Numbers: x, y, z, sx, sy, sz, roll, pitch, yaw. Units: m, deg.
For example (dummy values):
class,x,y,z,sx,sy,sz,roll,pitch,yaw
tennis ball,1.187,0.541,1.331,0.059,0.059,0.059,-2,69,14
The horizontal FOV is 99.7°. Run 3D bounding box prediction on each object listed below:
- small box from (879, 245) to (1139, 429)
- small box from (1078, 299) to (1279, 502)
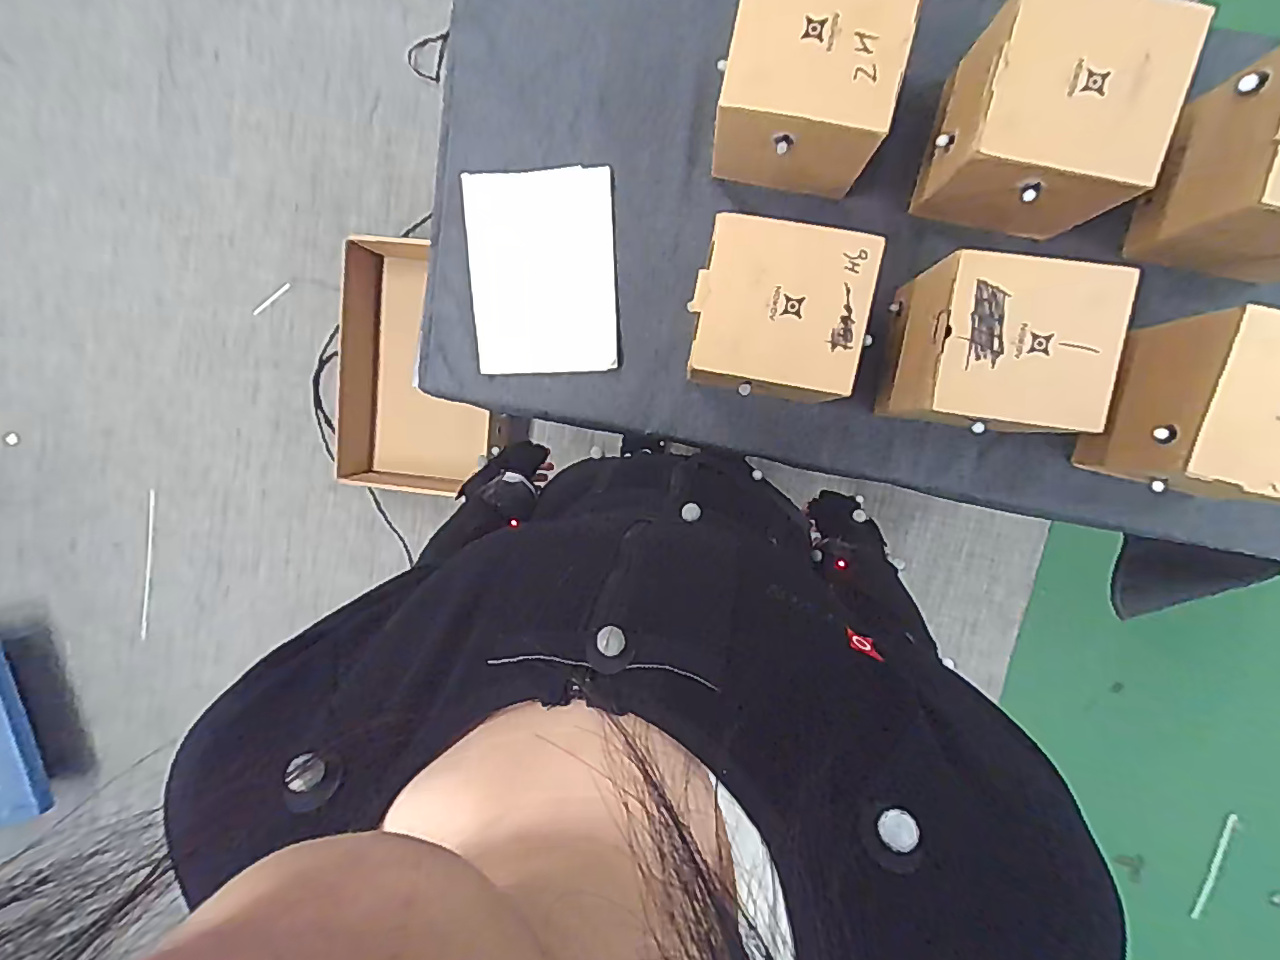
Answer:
class,x,y,z,sx,sy,sz,roll,pitch,yaw
small box,0.399,-0.150,0.621,0.179,0.176,0.168,8,96,3
small box,0.651,-0.081,0.609,0.168,0.176,0.179,14,97,3
